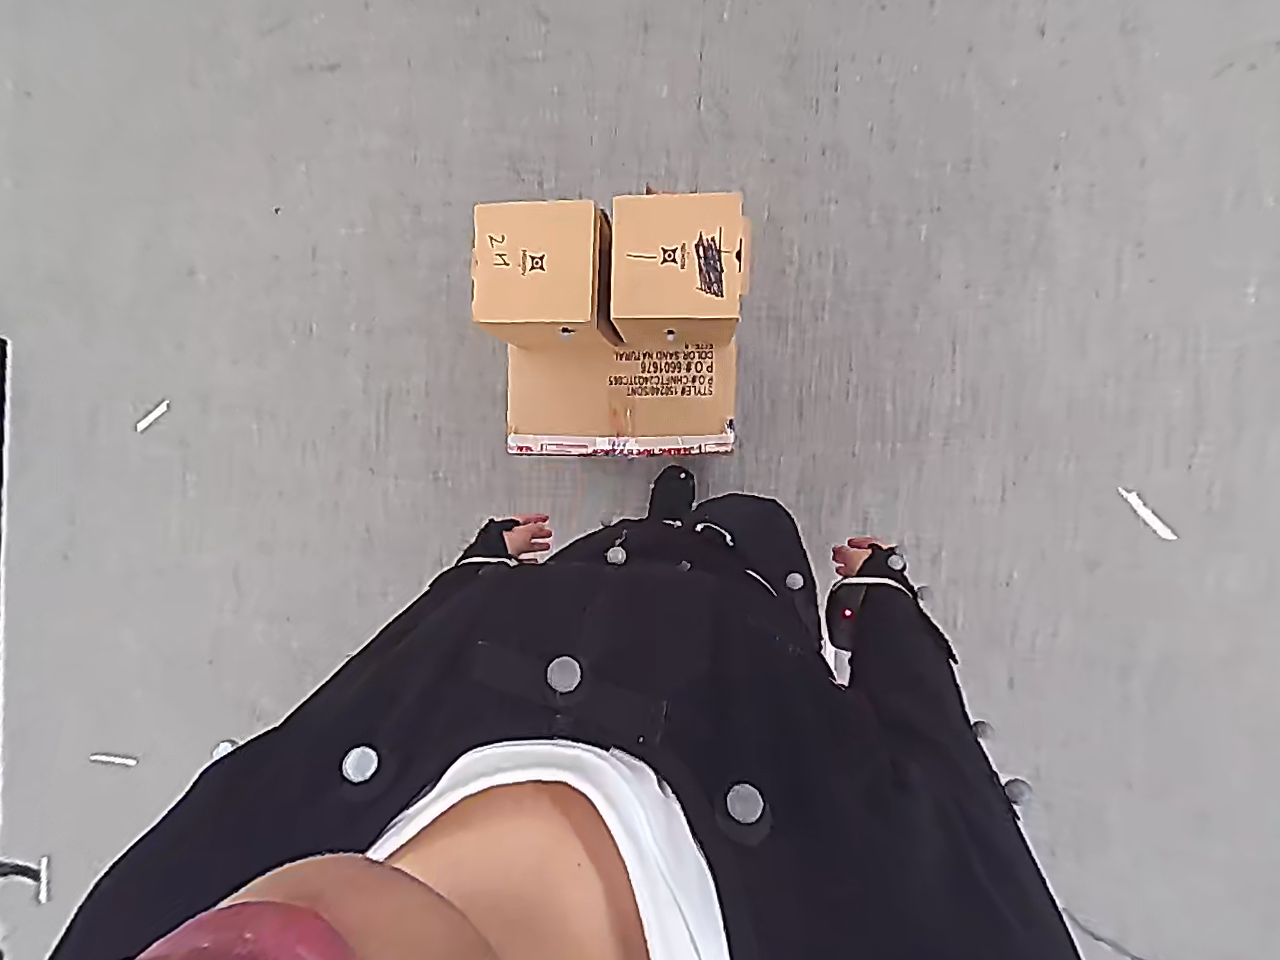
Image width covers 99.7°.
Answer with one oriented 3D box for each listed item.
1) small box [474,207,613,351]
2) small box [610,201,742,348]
[{"bbox_3d":[-0.135,-0.298,0.830,0.179,0.176,0.168,3,92,9],"label":"small box"},{"bbox_3d":[0.055,-0.296,0.808,0.179,0.176,0.168,2,92,6],"label":"small box"}]
